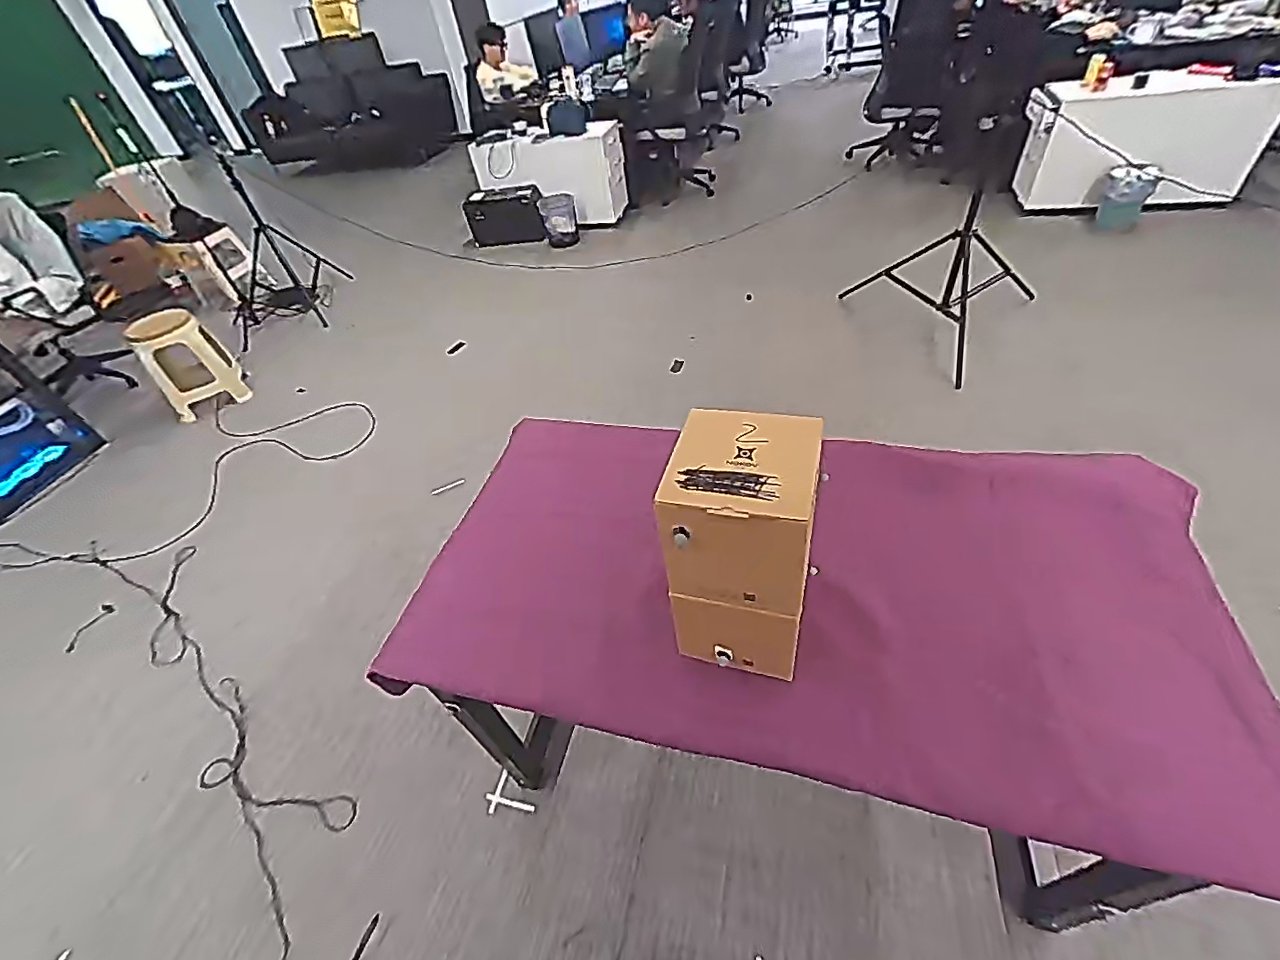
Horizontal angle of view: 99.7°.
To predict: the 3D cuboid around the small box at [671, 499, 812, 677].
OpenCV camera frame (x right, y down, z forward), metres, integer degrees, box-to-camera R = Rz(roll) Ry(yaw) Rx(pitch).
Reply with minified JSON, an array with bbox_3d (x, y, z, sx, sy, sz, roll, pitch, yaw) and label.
[{"bbox_3d":[0.151,0.154,0.785,0.168,0.176,0.179,7,47,18],"label":"small box"}]
